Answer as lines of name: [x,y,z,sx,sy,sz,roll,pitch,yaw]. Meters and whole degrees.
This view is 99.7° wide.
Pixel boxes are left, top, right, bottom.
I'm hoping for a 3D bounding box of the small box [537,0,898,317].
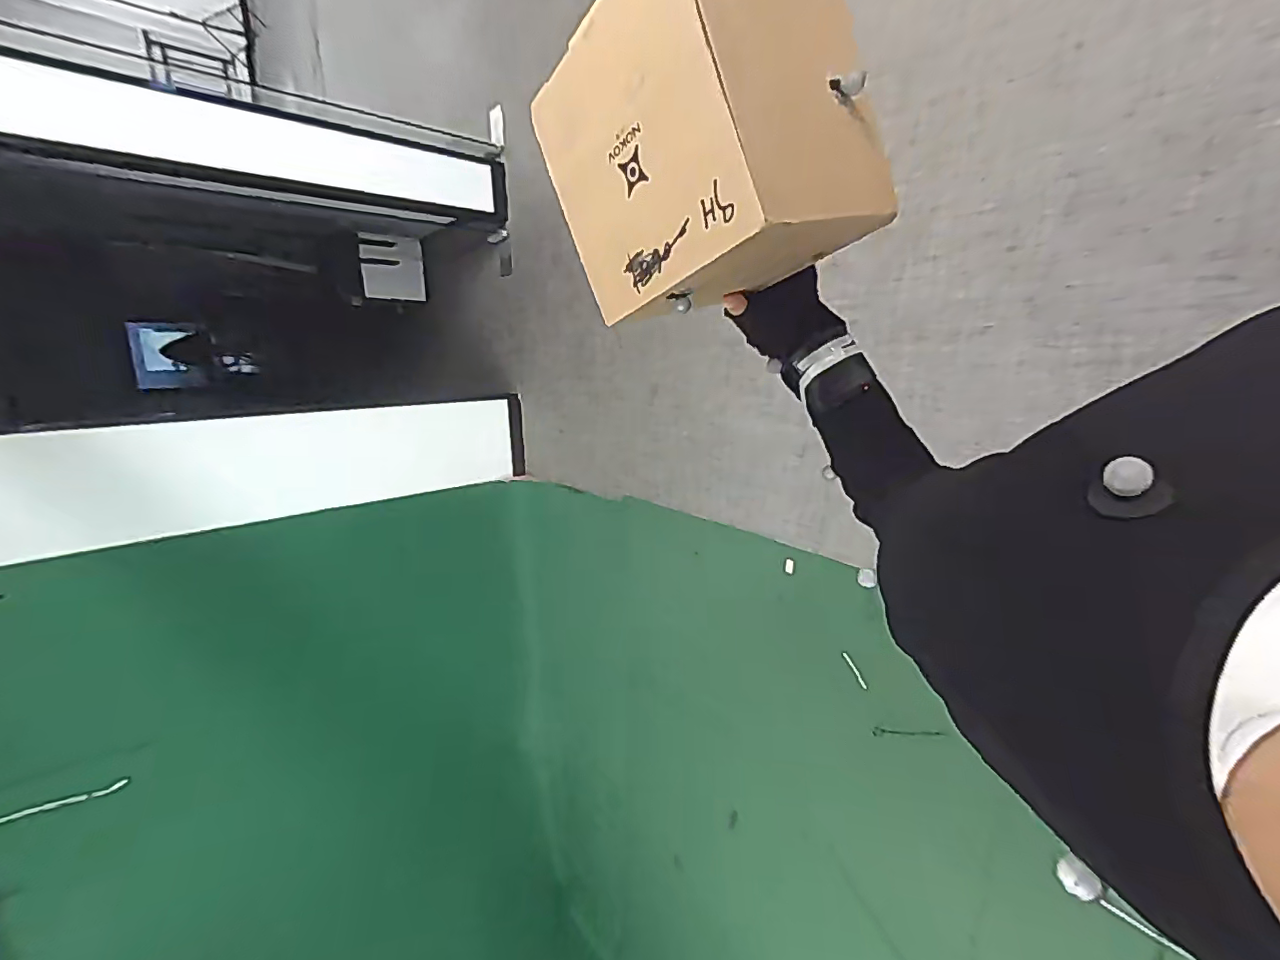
small box: [0.057,-0.239,0.397,0.168,0.176,0.179,-11,100,53]
